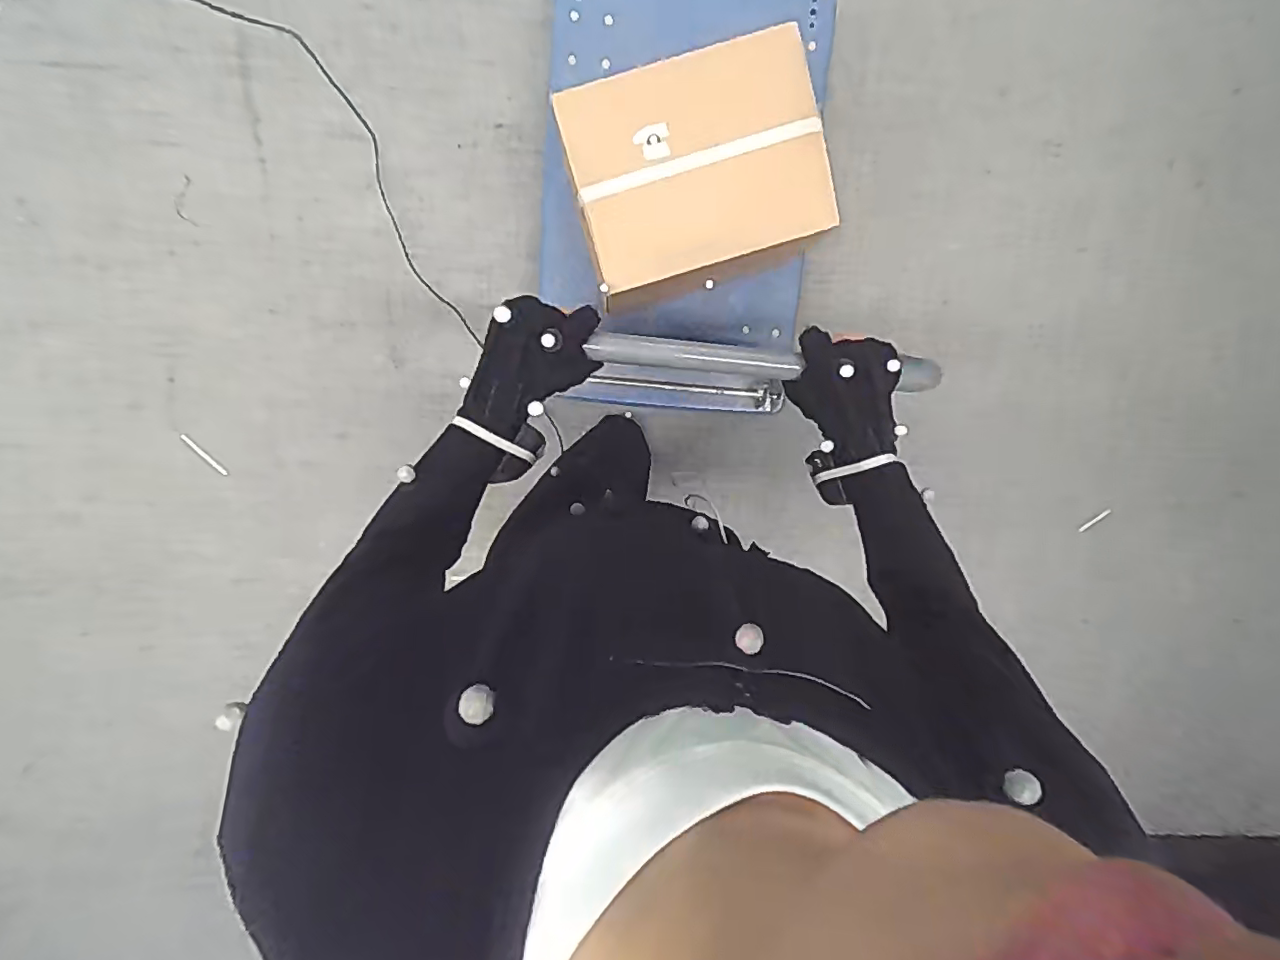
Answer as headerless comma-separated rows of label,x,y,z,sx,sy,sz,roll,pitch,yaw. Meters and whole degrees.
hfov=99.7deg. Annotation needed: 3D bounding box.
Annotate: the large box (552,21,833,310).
large box,0.087,-0.547,1.024,0.408,0.320,0.320,-17,100,1
